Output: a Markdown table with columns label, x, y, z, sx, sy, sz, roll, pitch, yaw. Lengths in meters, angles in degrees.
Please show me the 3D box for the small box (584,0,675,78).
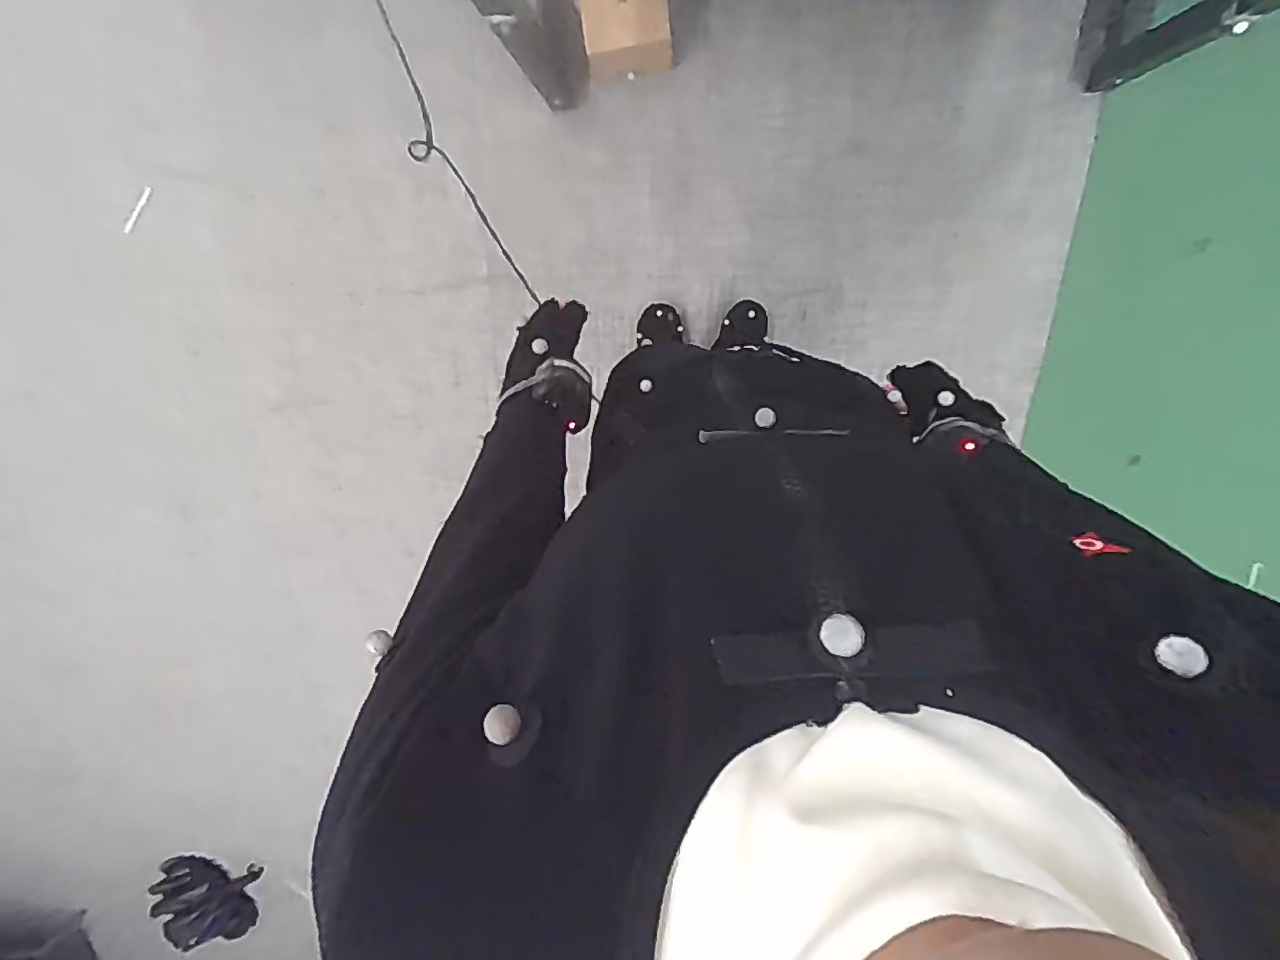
| label | x | y | z | sx | sy | sz | roll | pitch | yaw |
| --- | --- | --- | --- | --- | --- | --- | --- | --- | --- |
| small box | -0.022 | -0.939 | 1.069 | 0.168 | 0.176 | 0.179 | -6 | 110 | 7 |
